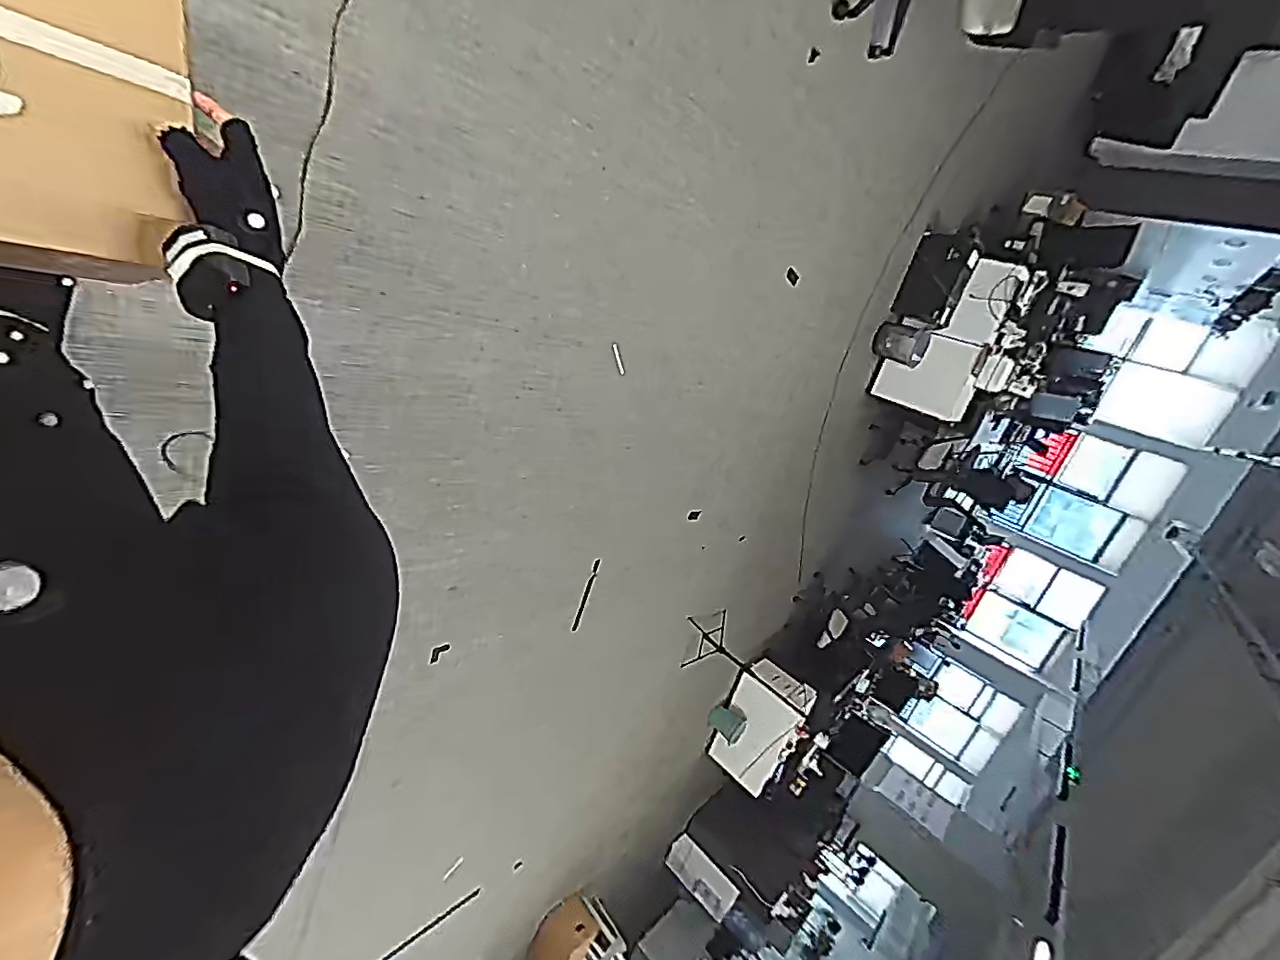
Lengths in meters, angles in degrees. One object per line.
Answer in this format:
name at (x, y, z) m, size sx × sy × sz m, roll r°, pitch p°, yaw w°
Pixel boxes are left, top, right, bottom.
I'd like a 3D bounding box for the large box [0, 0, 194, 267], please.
large box at (-0.671, -0.378, 0.443) m, size 0.408 × 0.320 × 0.320 m, roll -9°, pitch 109°, yaw -51°
